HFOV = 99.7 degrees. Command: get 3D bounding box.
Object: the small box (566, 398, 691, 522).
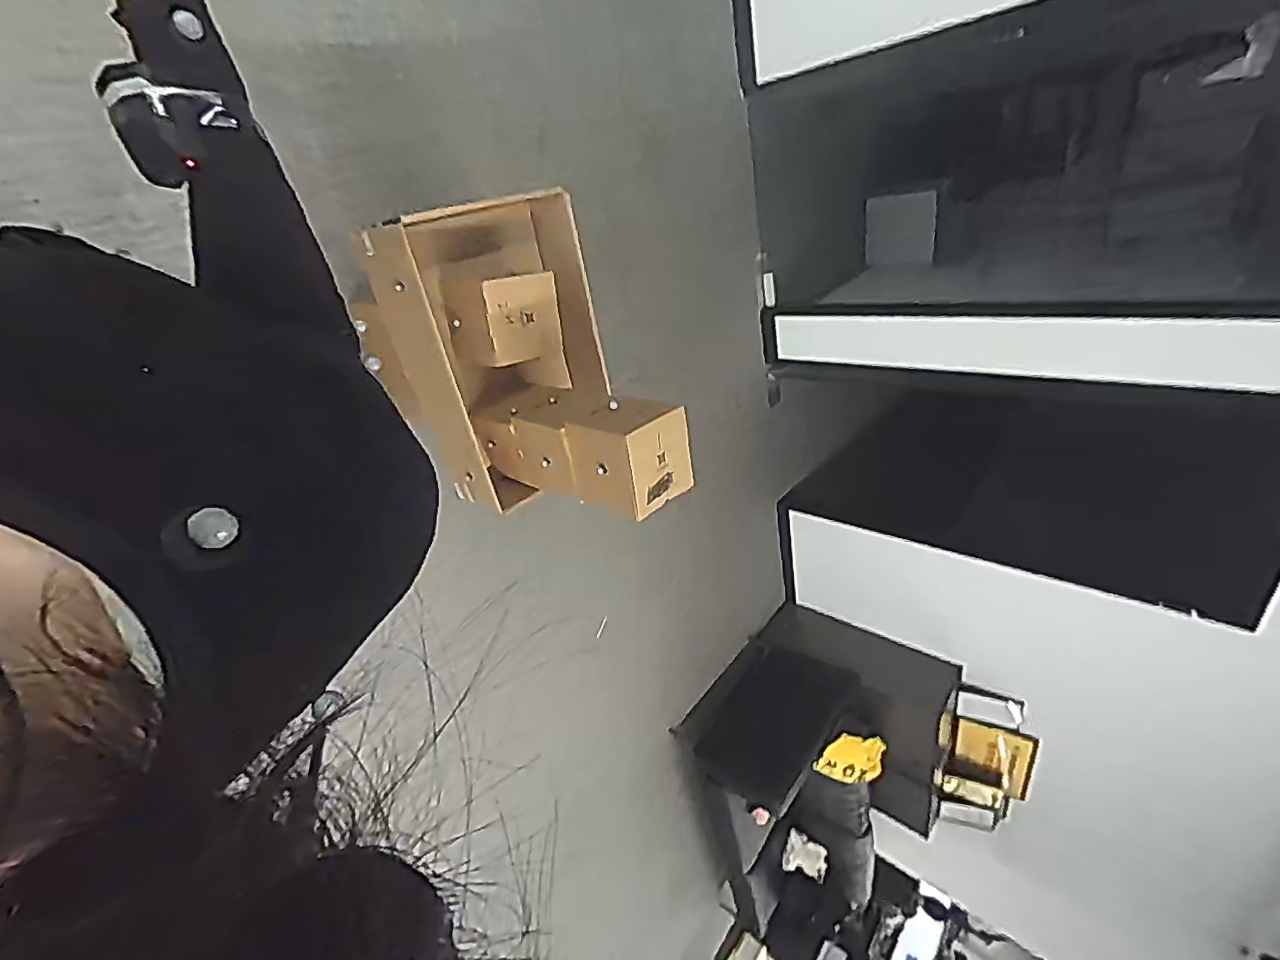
[{"bbox_3d":[-0.022,-0.047,1.058,0.168,0.176,0.179,-31,123,-38],"label":"small box"}]
